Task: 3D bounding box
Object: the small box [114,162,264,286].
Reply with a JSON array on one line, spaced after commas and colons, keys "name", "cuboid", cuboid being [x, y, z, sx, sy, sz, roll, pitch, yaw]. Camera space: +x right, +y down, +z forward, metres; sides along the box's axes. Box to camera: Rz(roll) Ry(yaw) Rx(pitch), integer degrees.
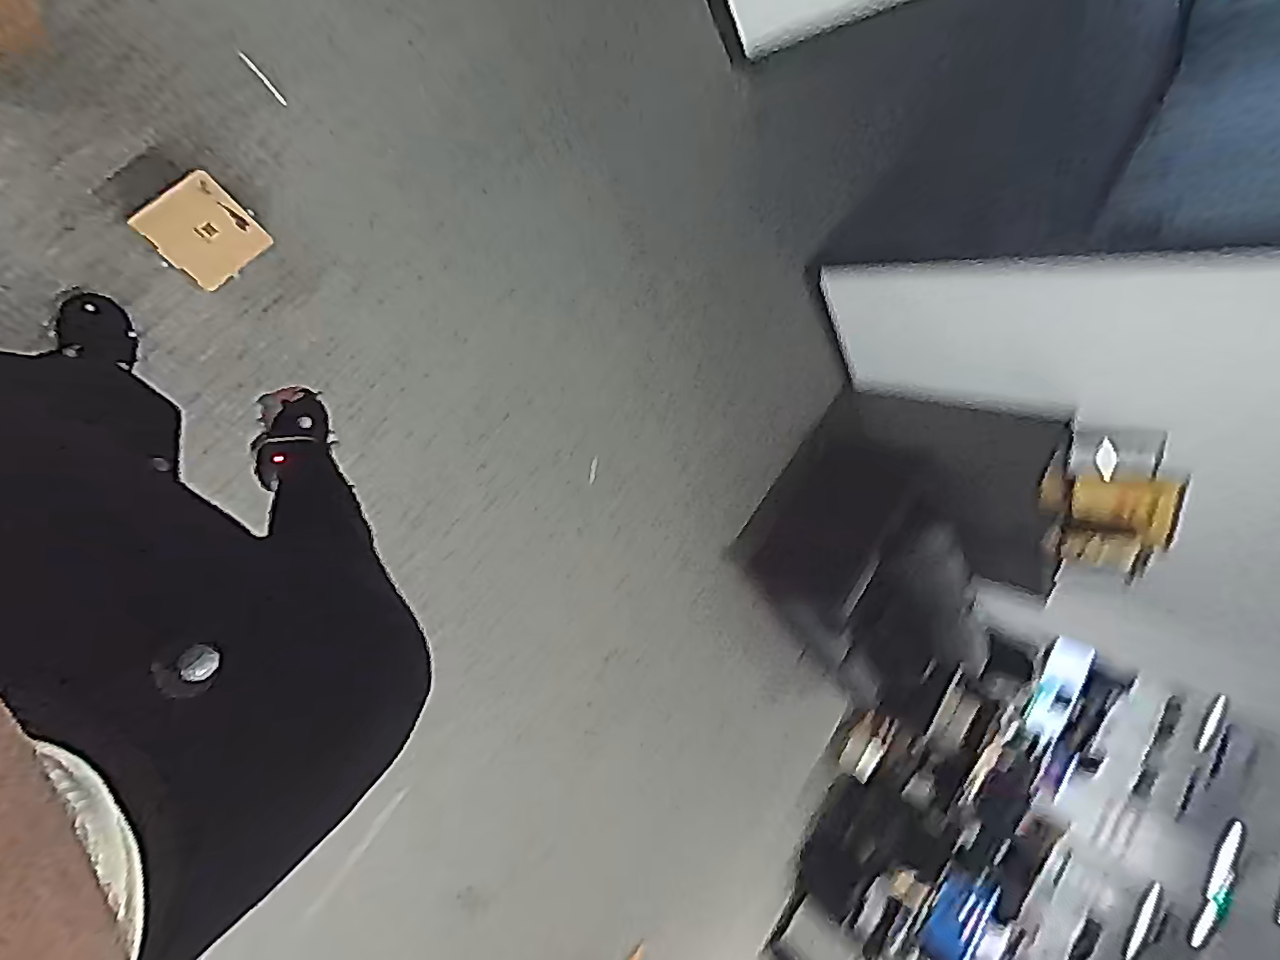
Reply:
[{"name": "small box", "cuboid": [-0.940, -0.528, 1.136, 0.179, 0.176, 0.168, -50, 132, -17]}]
